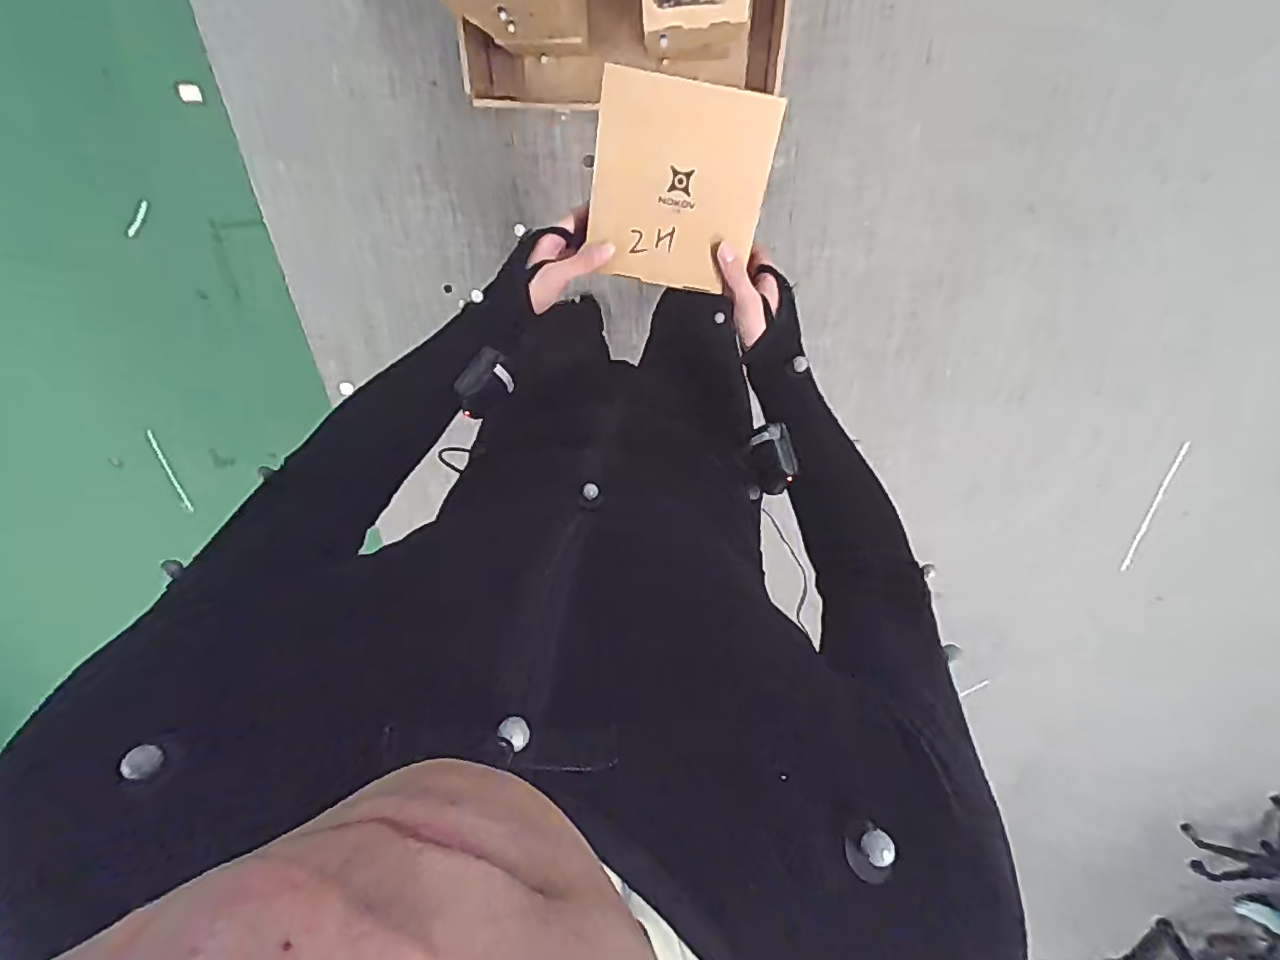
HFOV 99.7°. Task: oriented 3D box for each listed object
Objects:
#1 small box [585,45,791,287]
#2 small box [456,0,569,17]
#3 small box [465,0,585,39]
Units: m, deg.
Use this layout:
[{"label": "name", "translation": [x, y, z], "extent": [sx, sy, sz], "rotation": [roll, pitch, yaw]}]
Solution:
[{"label": "small box", "translation": [0.041, -0.324, 0.576], "extent": [0.168, 0.176, 0.179], "rotation": [10, 120, -3]}, {"label": "small box", "translation": [-0.196, -0.761, 0.730], "extent": [0.168, 0.176, 0.179], "rotation": [0, 121, 4]}, {"label": "small box", "translation": [-0.186, -0.841, 0.871], "extent": [0.168, 0.176, 0.179], "rotation": [2, 119, 5]}]
